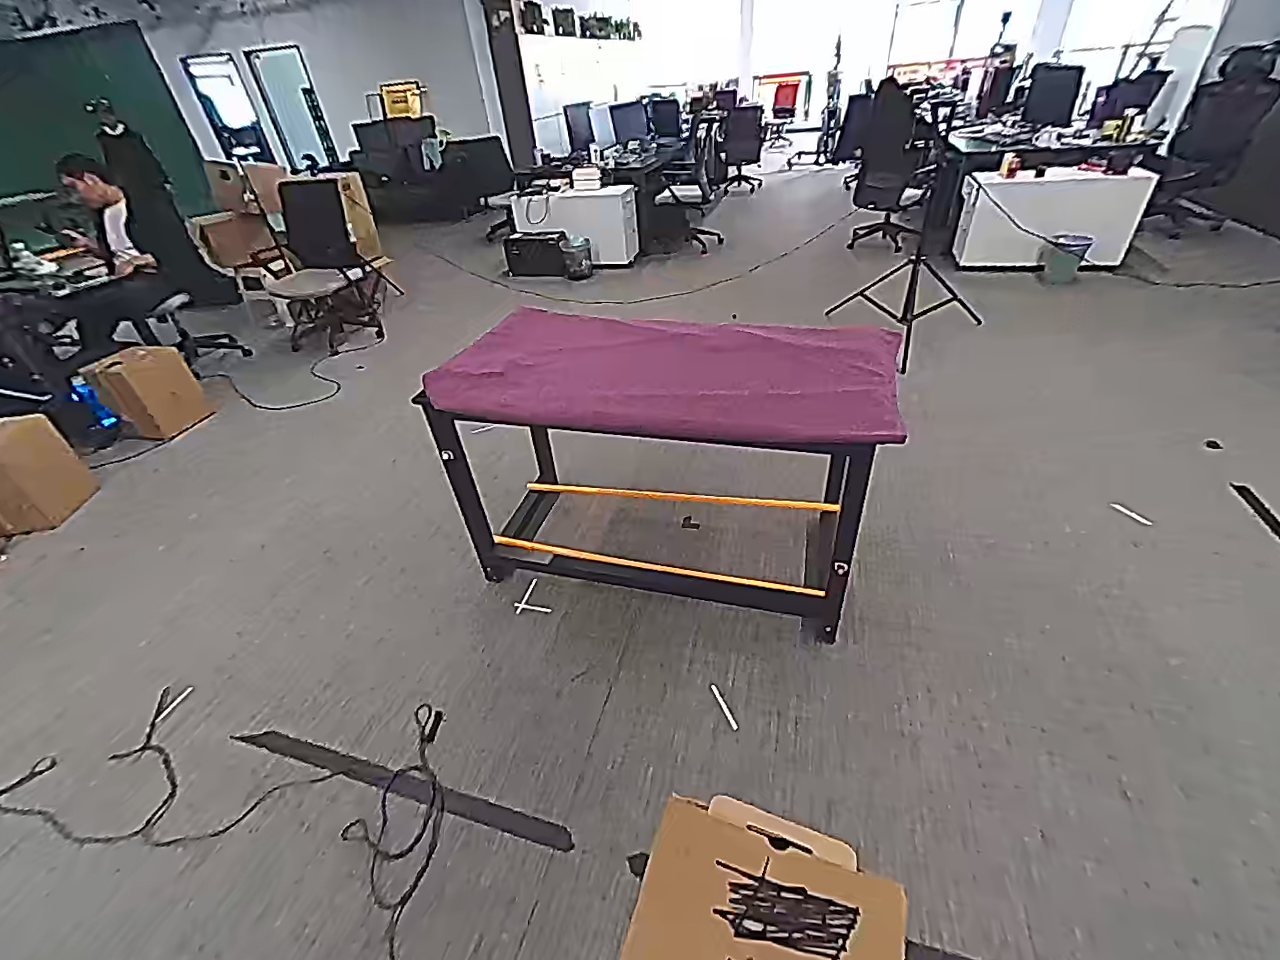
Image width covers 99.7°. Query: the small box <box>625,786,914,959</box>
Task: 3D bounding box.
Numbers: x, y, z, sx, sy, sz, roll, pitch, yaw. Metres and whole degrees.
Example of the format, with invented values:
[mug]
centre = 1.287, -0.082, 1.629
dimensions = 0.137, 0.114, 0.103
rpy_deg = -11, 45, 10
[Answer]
[small box]
centre = 0.084, 0.358, 0.388
dimensions = 0.168, 0.176, 0.179
rpy_deg = 11, 53, 20
